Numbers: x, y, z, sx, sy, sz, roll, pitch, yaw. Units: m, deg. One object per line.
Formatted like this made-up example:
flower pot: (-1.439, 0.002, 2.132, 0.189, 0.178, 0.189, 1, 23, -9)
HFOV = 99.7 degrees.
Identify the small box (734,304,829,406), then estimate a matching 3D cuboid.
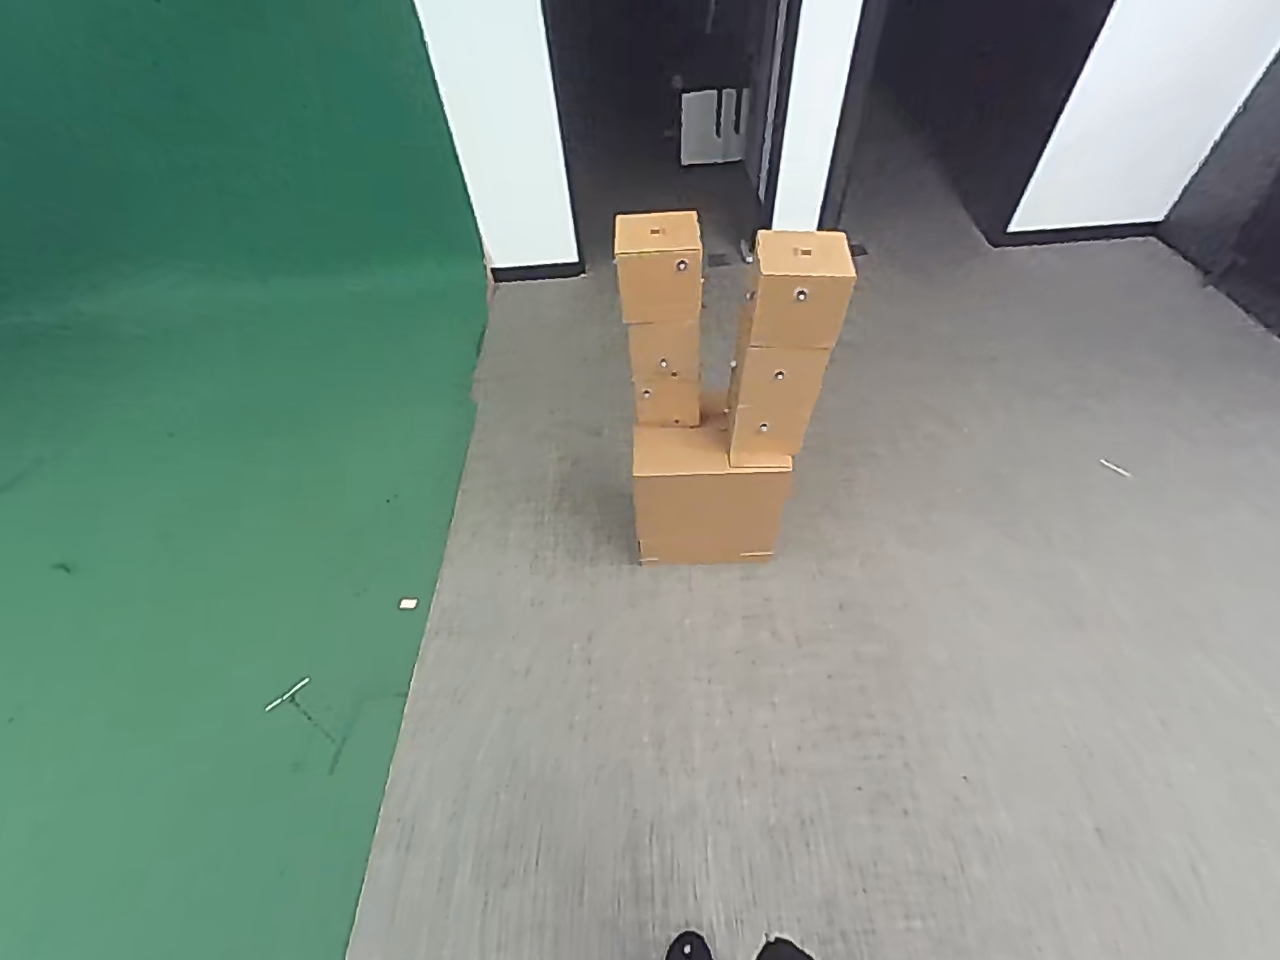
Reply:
small box: (0.313, -0.282, 1.233, 0.179, 0.176, 0.168, 0, 51, 4)

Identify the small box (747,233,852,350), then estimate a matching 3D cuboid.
small box: (0.313, -0.382, 1.104, 0.179, 0.176, 0.168, 4, 52, 5)

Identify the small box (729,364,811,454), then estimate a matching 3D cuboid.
small box: (0.317, -0.178, 1.359, 0.179, 0.176, 0.168, -1, 53, 4)
